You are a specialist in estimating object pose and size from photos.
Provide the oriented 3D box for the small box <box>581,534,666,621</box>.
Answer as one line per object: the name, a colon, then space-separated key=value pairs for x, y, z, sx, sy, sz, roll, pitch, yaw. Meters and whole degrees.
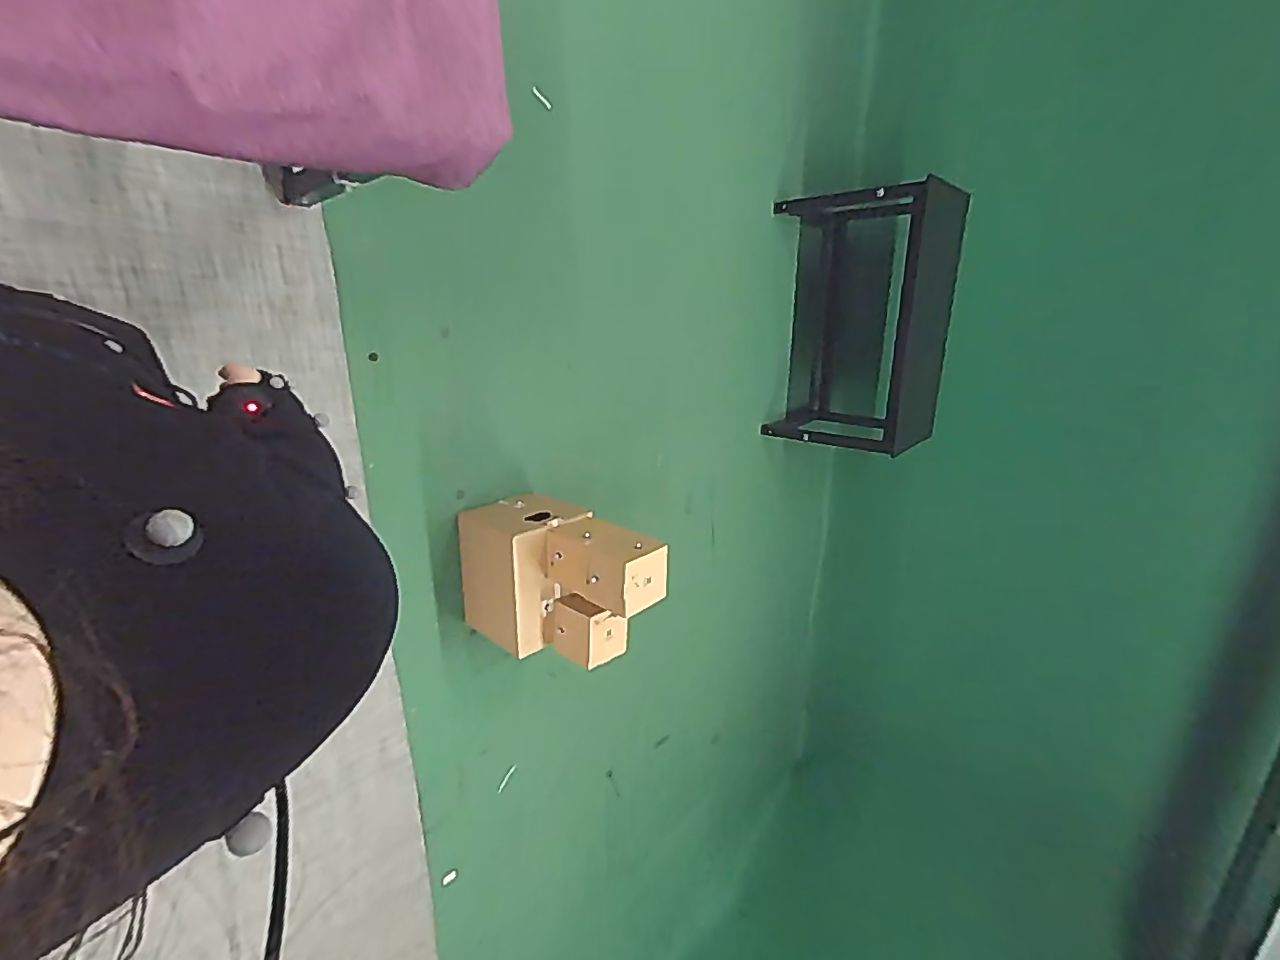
small box: x=-0.047 y=0.265 z=1.527 sx=0.179 sy=0.176 sz=0.168 roll=-17 pitch=114 yaw=-45

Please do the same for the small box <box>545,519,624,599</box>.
small box: x=-0.167 y=0.230 z=1.634 sx=0.179 sy=0.176 sz=0.168 roll=-16 pitch=113 yaw=-46

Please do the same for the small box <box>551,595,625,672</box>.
small box: x=-0.165 y=0.468 z=1.703 sx=0.168 sy=0.176 sz=0.179 roll=-9 pitch=107 yaw=-48

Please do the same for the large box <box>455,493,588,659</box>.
large box: x=-0.382 y=0.294 z=1.782 sx=0.320 sy=0.320 sz=0.408 roll=-16 pitch=113 yaw=-45
